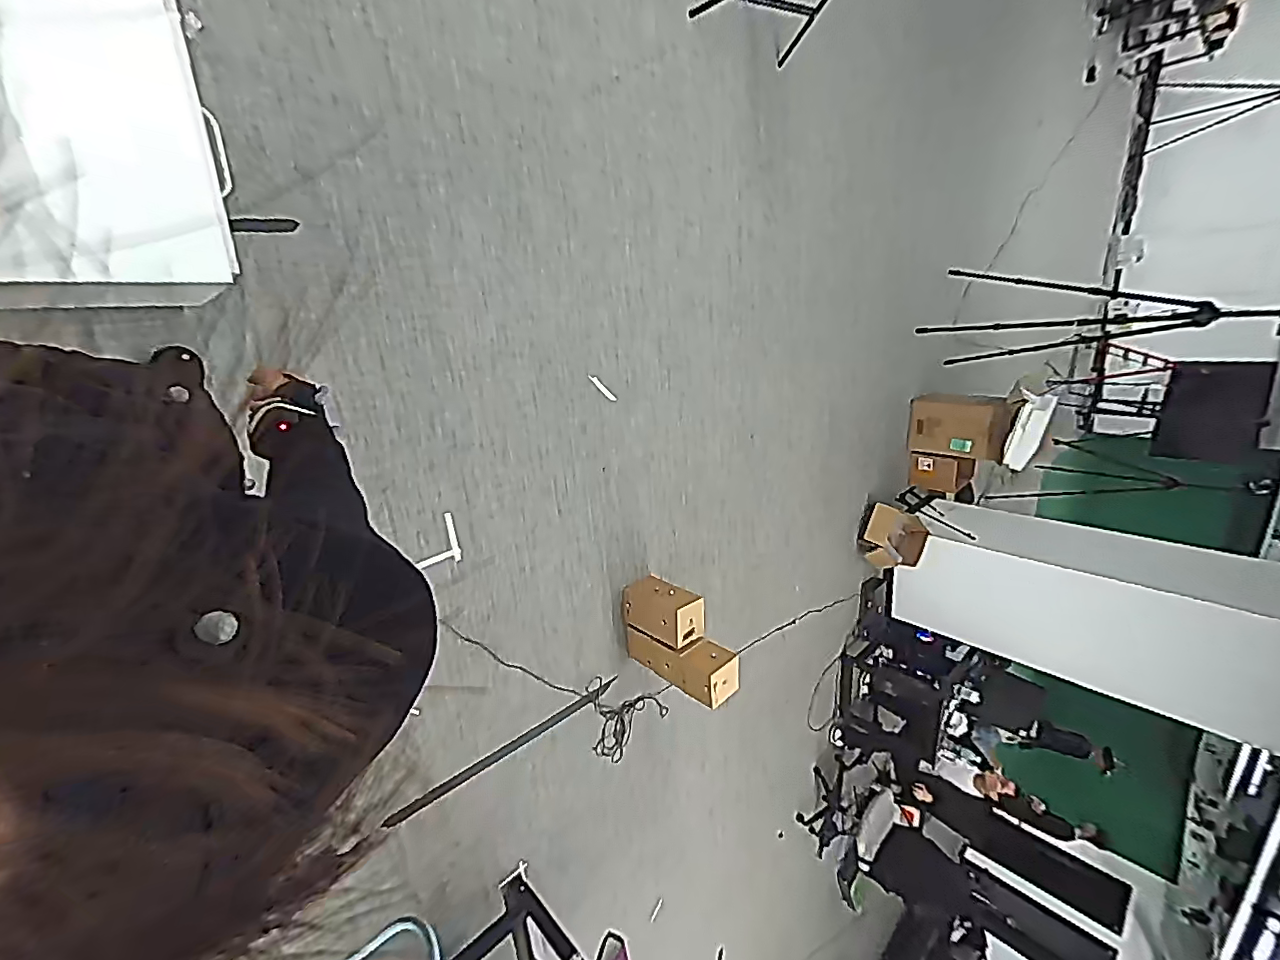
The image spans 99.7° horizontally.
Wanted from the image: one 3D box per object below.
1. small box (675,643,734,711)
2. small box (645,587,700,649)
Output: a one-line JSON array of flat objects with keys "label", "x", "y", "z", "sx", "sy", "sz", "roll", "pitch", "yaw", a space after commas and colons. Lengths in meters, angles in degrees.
[{"label": "small box", "x": 0.264, "y": 0.795, "z": 2.208, "sx": 0.179, "sy": 0.176, "sz": 0.168, "roll": -21, "pitch": 114, "yaw": -40}, {"label": "small box", "x": 0.135, "y": 0.572, "z": 2.258, "sx": 0.168, "sy": 0.176, "sz": 0.179, "roll": -13, "pitch": 108, "yaw": -42}]
